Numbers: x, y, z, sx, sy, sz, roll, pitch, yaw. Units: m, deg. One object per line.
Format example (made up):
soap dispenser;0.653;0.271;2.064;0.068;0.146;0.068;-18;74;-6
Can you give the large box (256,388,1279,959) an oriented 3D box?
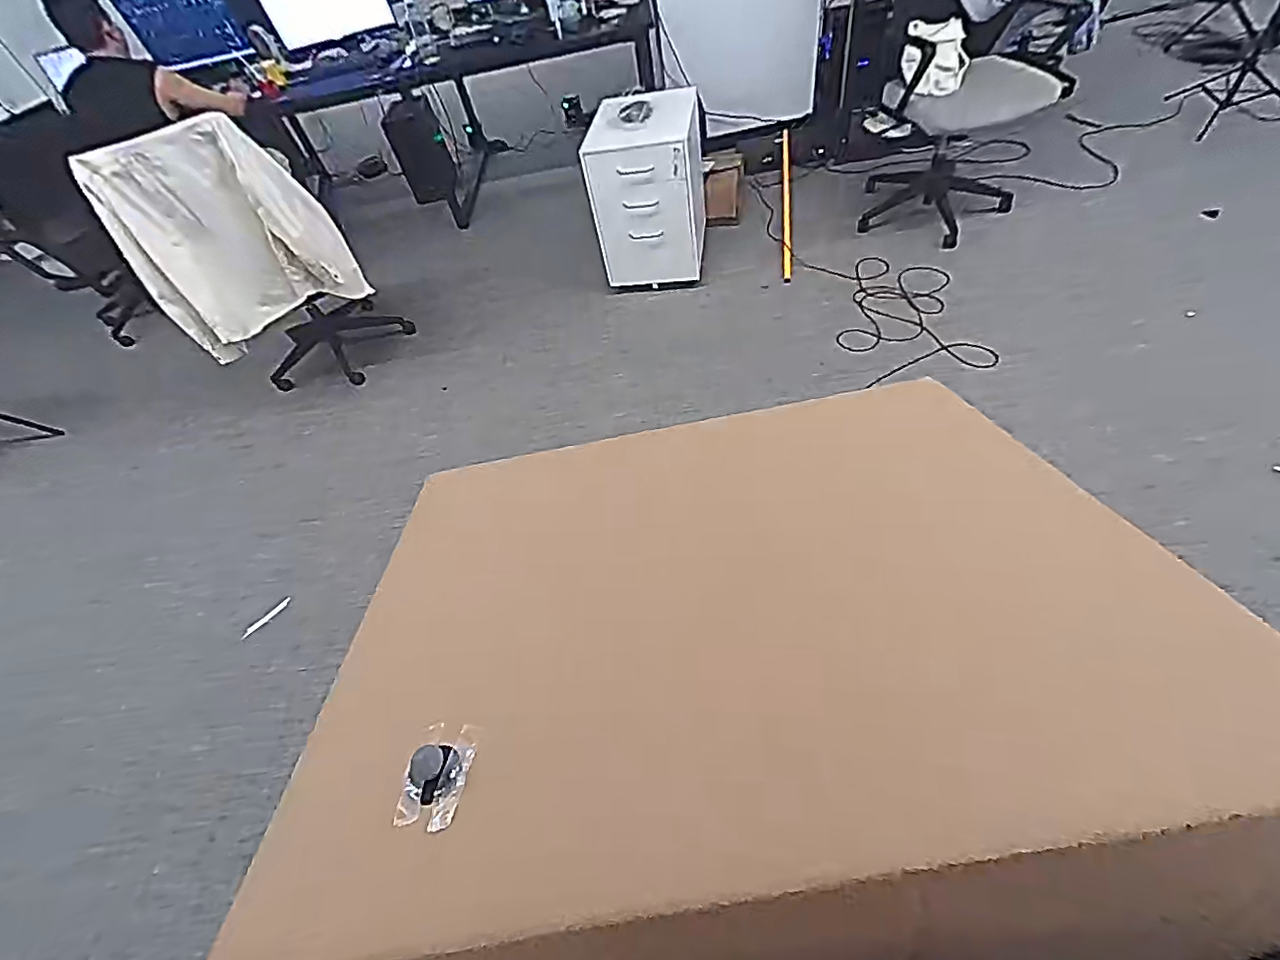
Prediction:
large box;0.070;0.166;0.388;0.408;0.320;0.320;-11;34;2
